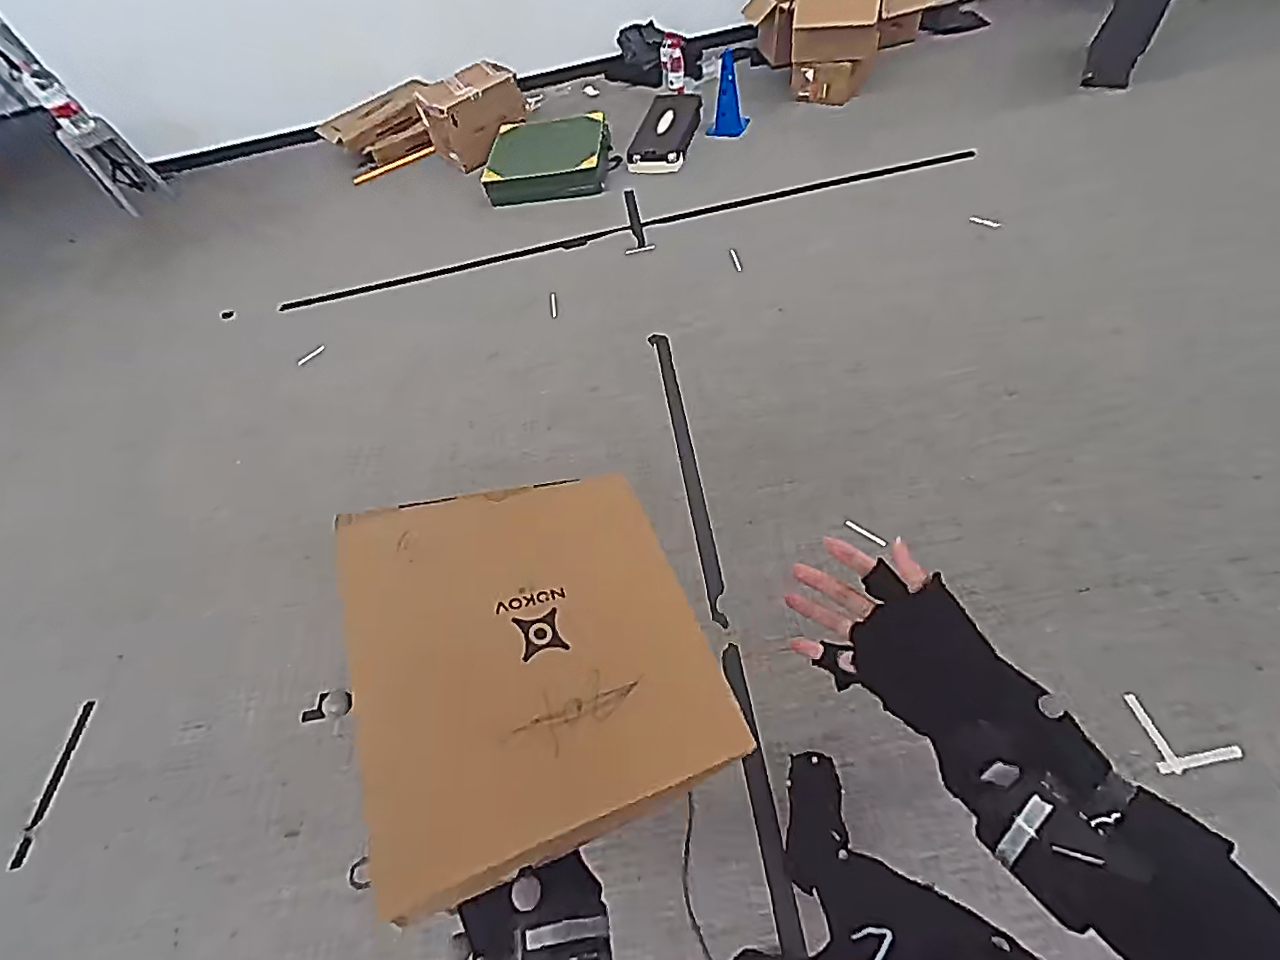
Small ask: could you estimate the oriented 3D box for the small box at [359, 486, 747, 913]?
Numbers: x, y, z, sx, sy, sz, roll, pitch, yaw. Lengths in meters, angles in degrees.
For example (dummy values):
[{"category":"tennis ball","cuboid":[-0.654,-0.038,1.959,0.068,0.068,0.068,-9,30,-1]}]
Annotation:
[{"category":"small box","cuboid":[-0.070,0.130,0.336,0.168,0.176,0.179,-9,54,-26]}]
